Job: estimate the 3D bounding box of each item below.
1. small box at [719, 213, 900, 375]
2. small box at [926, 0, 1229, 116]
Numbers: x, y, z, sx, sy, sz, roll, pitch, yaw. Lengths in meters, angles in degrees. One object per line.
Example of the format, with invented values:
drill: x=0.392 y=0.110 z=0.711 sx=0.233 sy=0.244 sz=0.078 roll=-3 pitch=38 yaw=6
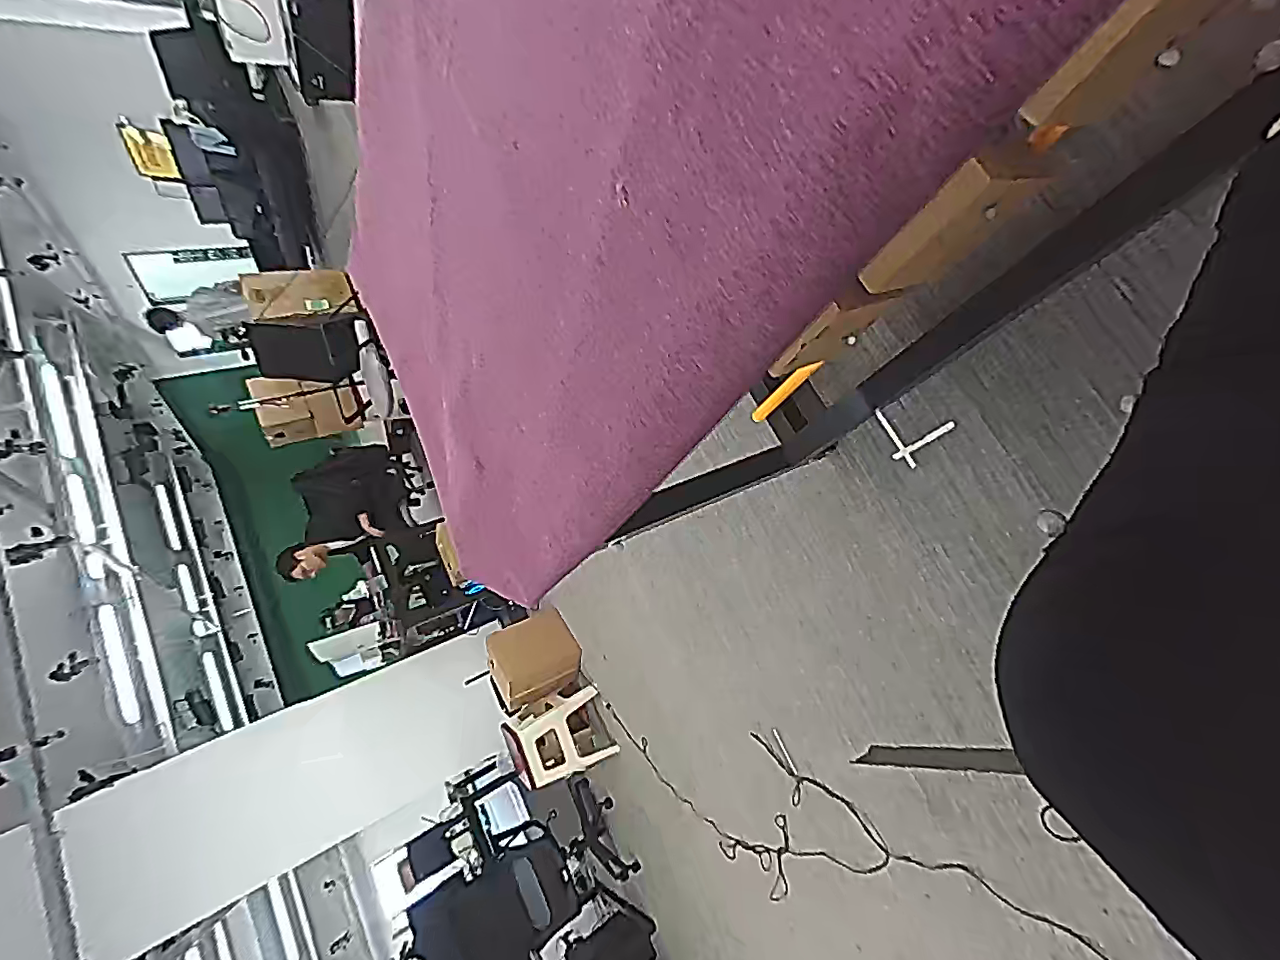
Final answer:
small box: x=0.265 y=-0.296 z=0.856 sx=0.179 sy=0.176 sz=0.168 roll=60 pitch=149 yaw=11
small box: x=0.419 y=-0.470 z=0.498 sx=0.179 sy=0.176 sz=0.168 roll=59 pitch=150 yaw=13
